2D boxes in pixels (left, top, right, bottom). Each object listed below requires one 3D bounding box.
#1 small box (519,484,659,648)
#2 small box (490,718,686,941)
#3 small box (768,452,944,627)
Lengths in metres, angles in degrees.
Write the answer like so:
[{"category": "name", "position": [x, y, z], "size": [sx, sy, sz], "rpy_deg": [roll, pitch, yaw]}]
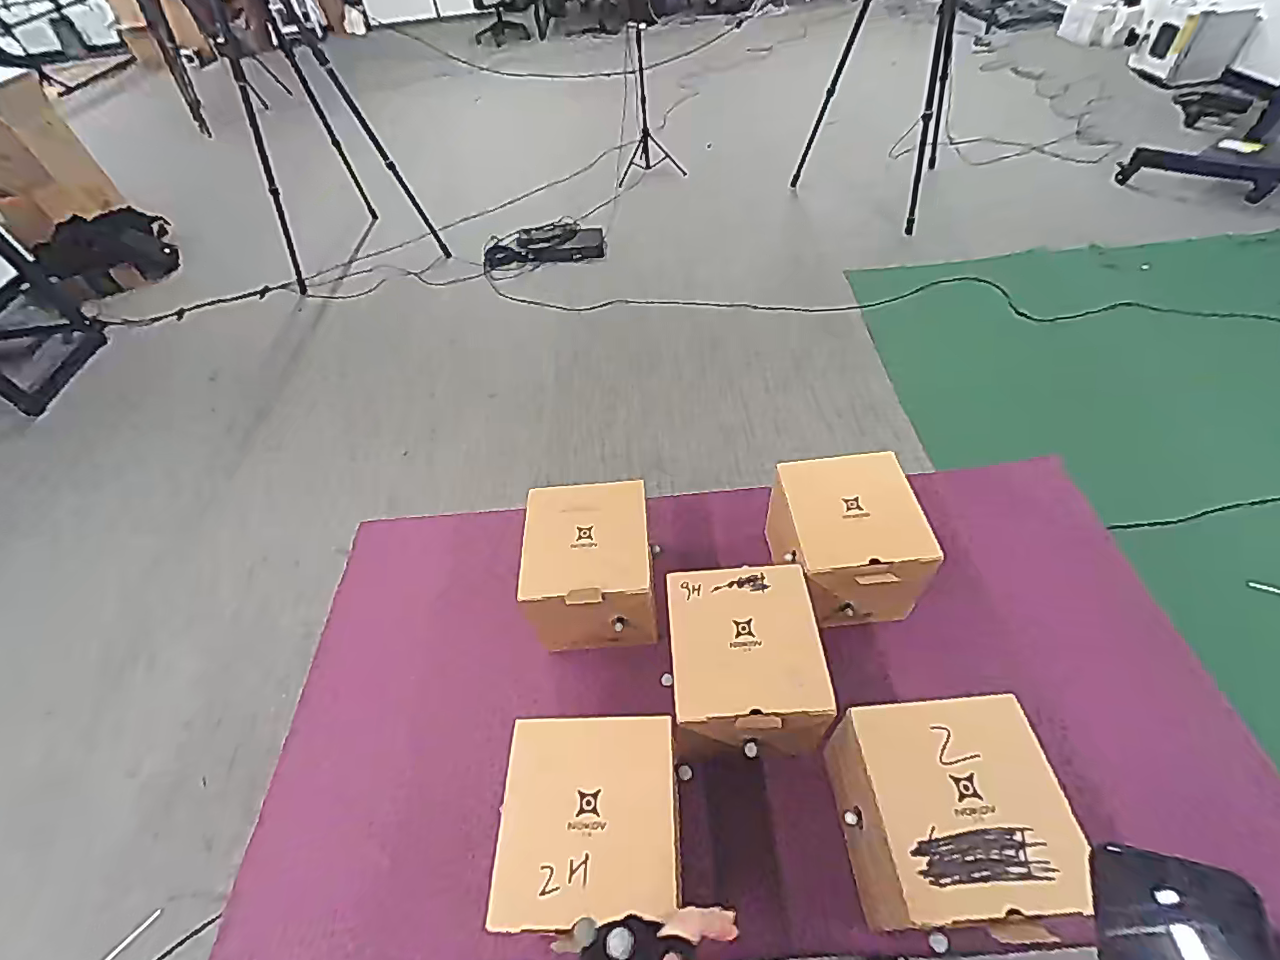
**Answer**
[{"category": "small box", "position": [-0.063, 0.129, 0.770], "size": [0.168, 0.176, 0.179], "rpy_deg": [-5, 50, 2]}, {"category": "small box", "position": [-0.039, 0.367, 0.569], "size": [0.168, 0.176, 0.179], "rpy_deg": [-3, 50, 5]}, {"category": "small box", "position": [0.284, 0.087, 0.761], "size": [0.168, 0.176, 0.179], "rpy_deg": [-7, 52, 2]}]
